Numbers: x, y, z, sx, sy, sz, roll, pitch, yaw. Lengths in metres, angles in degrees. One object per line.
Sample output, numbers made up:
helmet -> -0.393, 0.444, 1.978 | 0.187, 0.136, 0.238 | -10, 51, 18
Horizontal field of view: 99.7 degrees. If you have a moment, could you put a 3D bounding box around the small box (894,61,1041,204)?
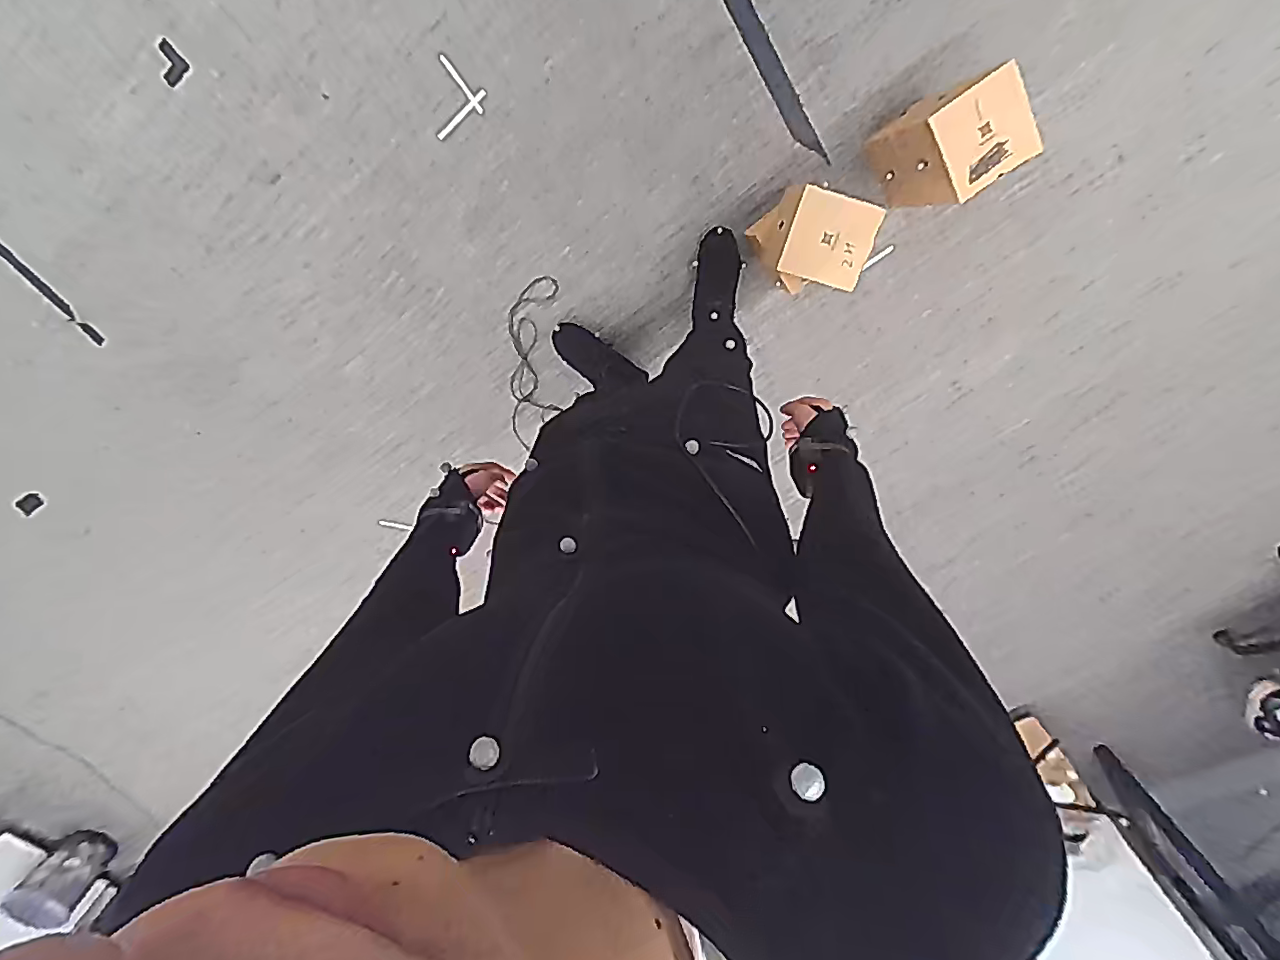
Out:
small box -> 0.649, -0.683, 1.087 | 0.168, 0.176, 0.179 | -32, 111, 14

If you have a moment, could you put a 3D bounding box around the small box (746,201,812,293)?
small box -> 0.380, -0.586, 1.322 | 0.168, 0.176, 0.179 | -35, 111, 16

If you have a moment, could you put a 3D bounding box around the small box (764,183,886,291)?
small box -> 0.386, -0.524, 1.170 | 0.179, 0.176, 0.168 | 14, 116, -7
